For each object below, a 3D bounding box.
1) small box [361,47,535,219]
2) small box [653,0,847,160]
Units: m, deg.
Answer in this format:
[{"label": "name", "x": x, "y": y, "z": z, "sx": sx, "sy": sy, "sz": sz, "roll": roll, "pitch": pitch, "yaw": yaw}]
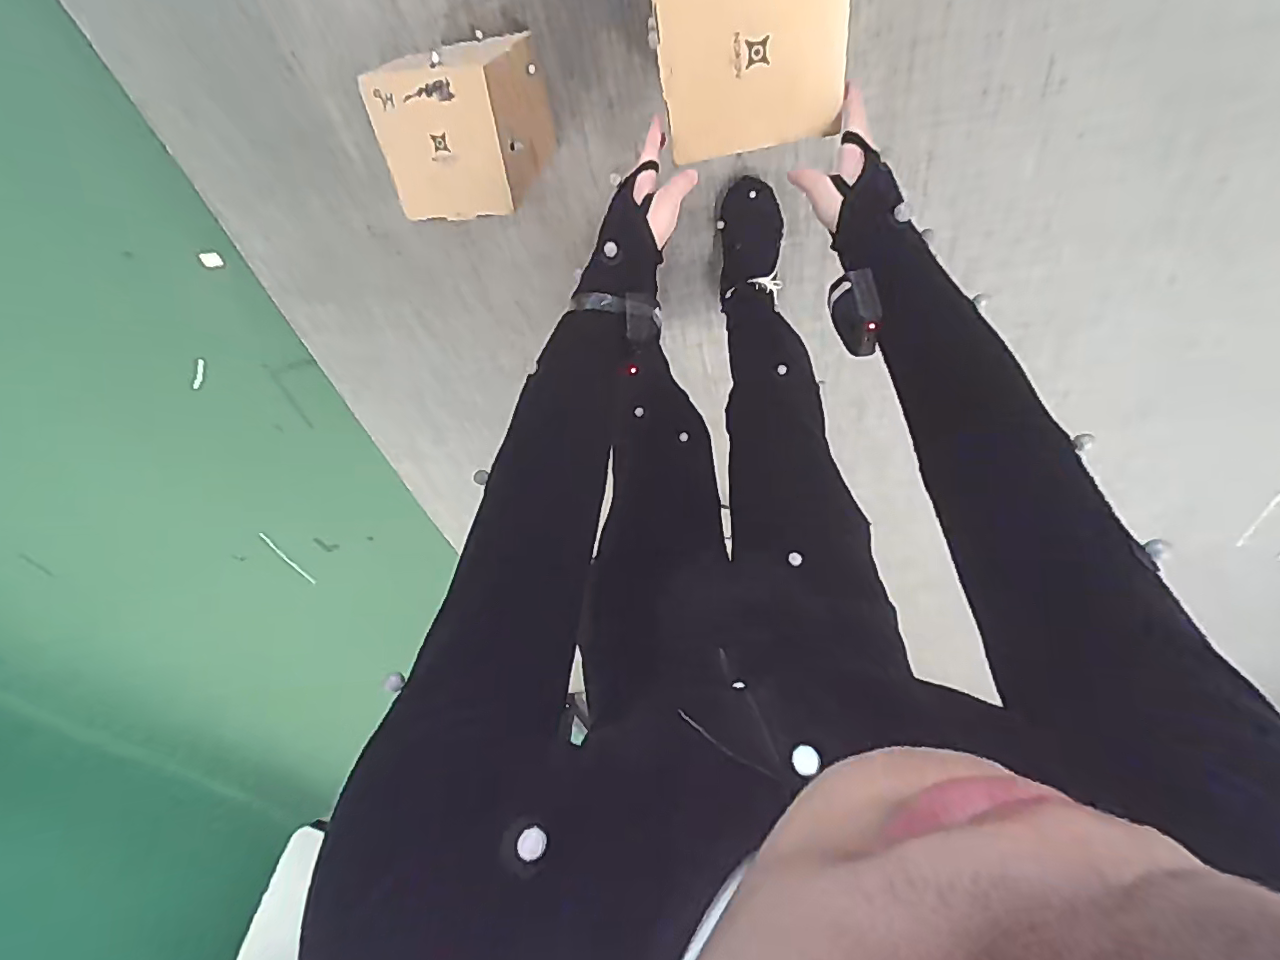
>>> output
[{"label": "small box", "x": -0.260, "y": -0.503, "z": 0.786, "sx": 0.168, "sy": 0.176, "sz": 0.179, "roll": -1, "pitch": 135, "yaw": 5}, {"label": "small box", "x": 0.109, "y": -0.466, "z": 0.570, "sx": 0.179, "sy": 0.176, "sz": 0.168, "roll": -5, "pitch": 134, "yaw": 10}]
